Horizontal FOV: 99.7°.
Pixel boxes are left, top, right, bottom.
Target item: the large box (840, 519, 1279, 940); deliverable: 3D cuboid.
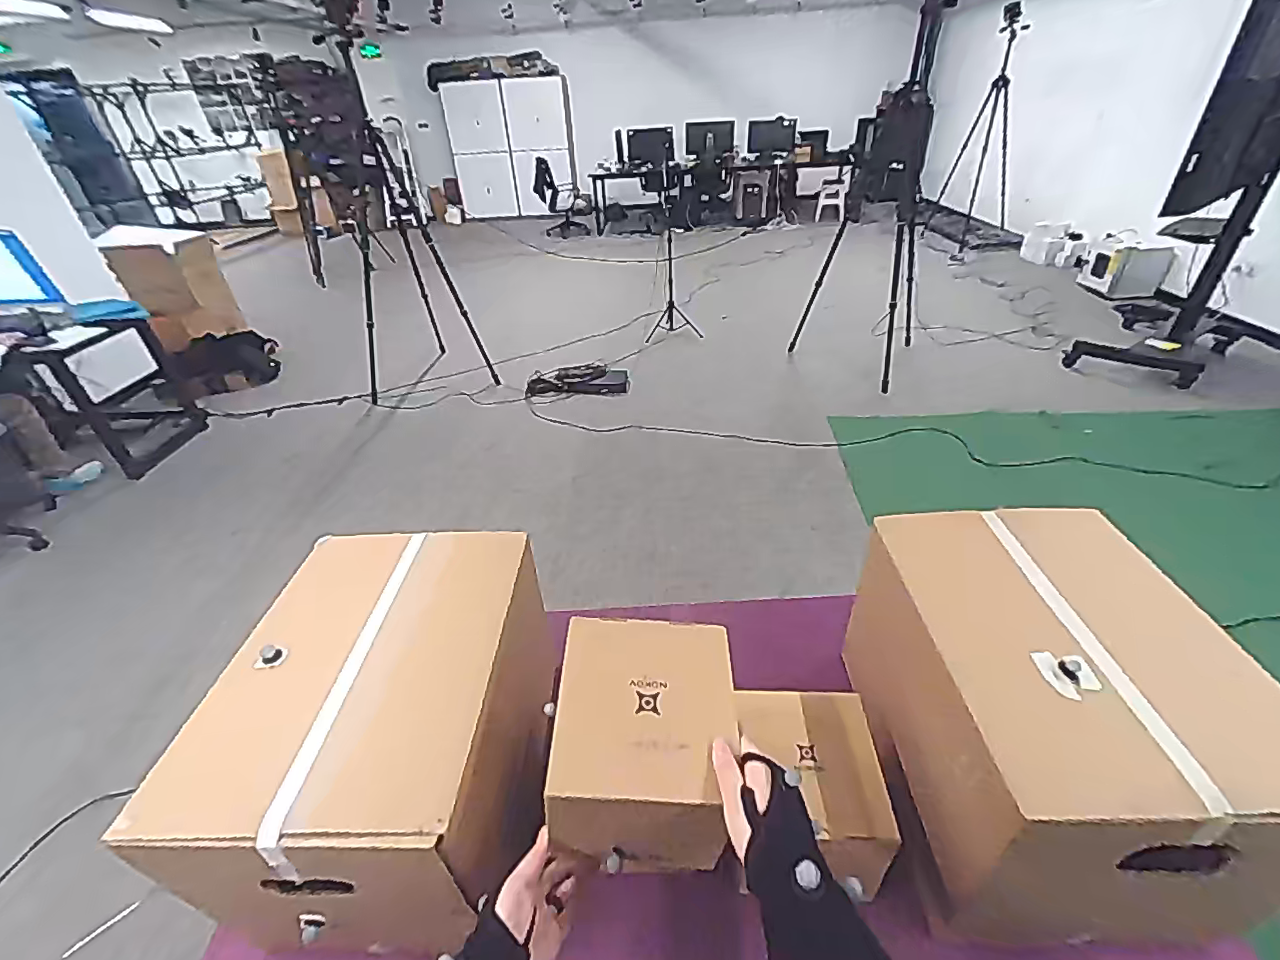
[{"bbox_3d":[0.493,0.296,0.703,0.320,0.320,0.408,-1,36,3],"label":"large box"}]
